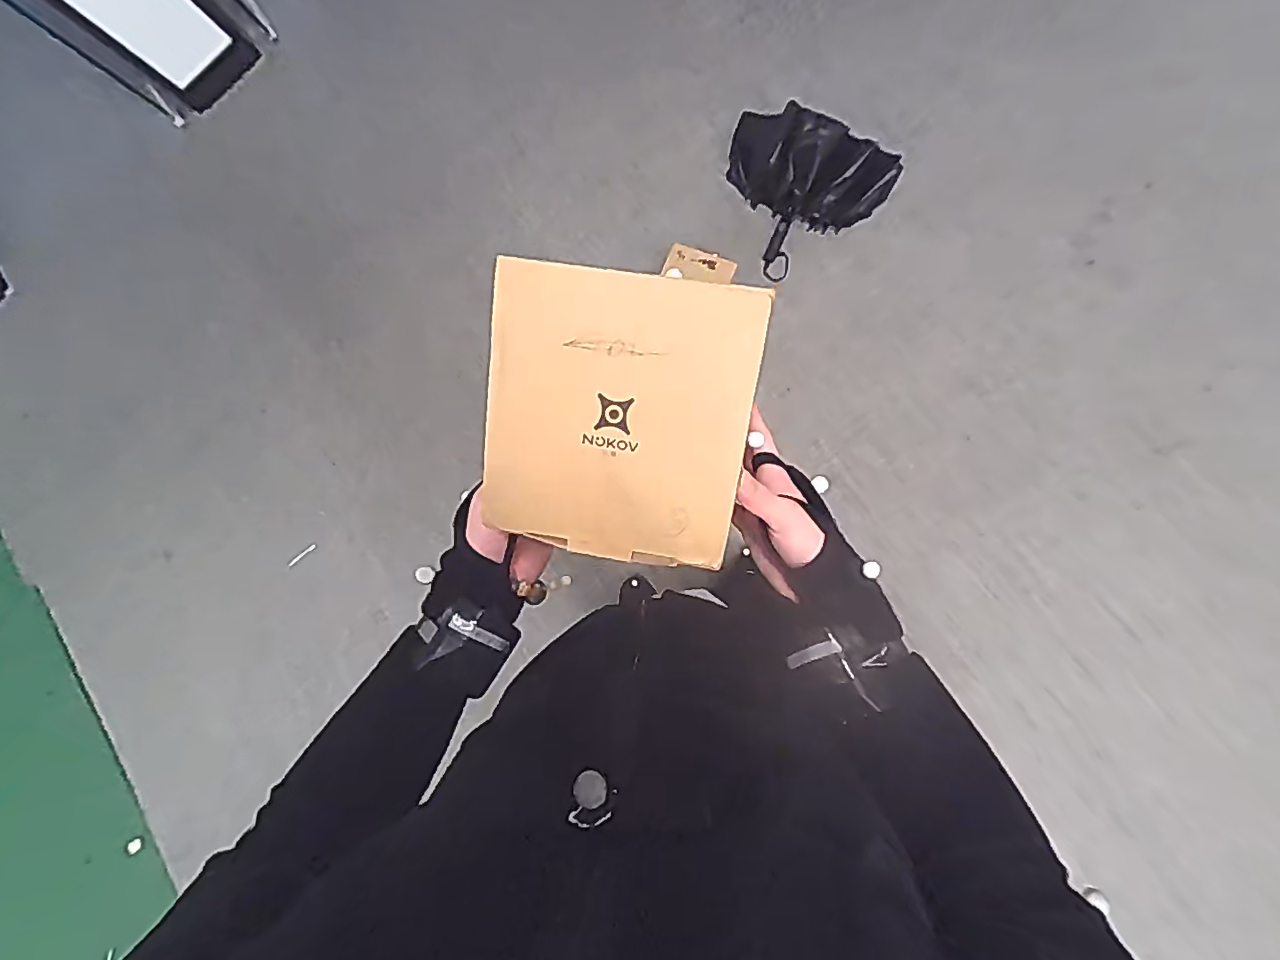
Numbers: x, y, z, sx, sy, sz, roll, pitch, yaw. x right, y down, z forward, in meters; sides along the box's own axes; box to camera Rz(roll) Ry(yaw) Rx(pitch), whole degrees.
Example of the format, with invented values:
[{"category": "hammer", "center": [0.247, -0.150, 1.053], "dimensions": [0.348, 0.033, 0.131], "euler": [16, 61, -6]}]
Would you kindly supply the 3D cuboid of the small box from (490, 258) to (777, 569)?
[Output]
[{"category": "small box", "center": [0.000, -0.056, 0.413], "dimensions": [0.168, 0.176, 0.179], "euler": [9, 104, 5]}]
